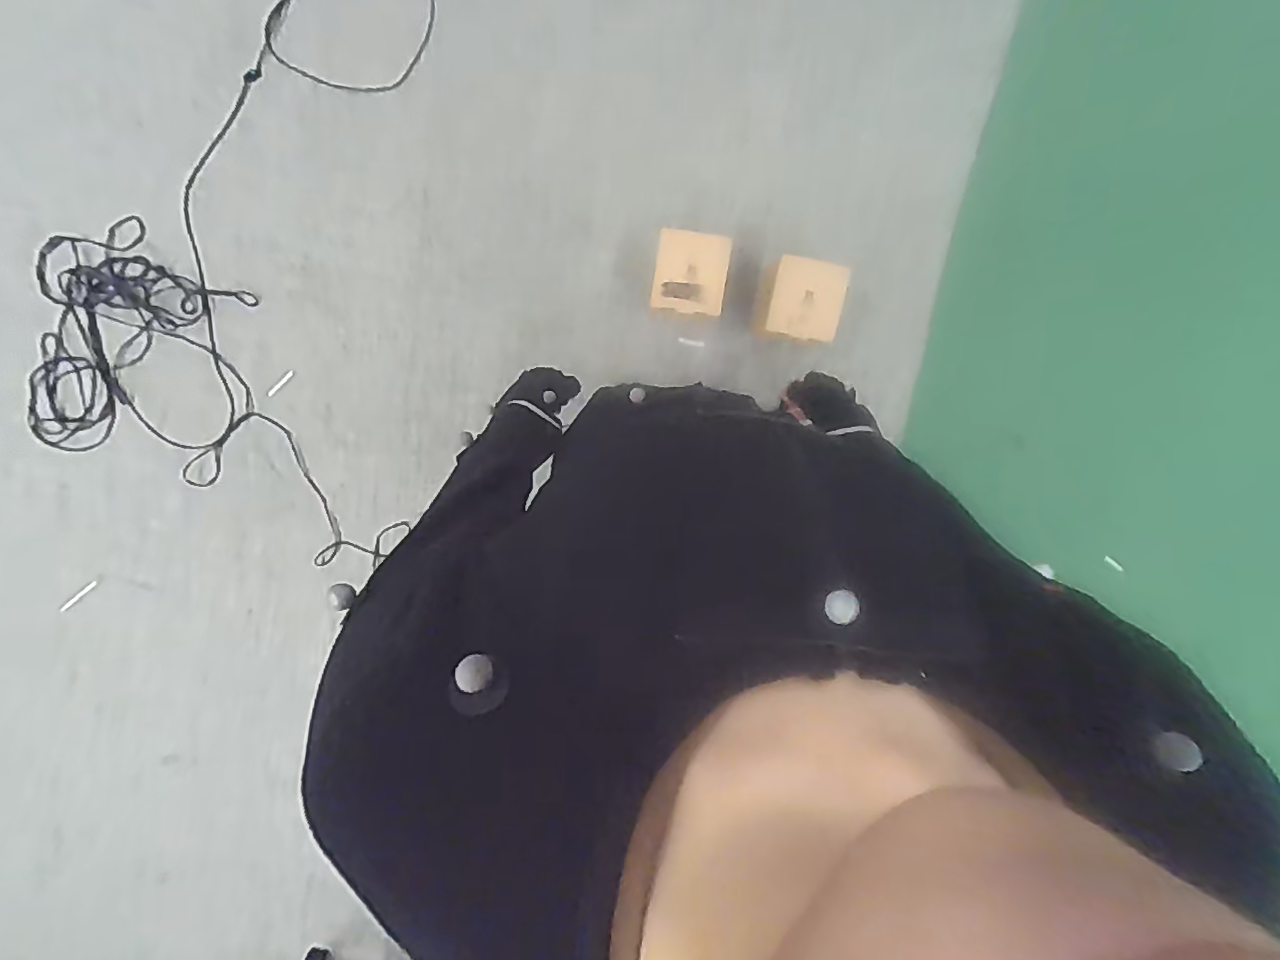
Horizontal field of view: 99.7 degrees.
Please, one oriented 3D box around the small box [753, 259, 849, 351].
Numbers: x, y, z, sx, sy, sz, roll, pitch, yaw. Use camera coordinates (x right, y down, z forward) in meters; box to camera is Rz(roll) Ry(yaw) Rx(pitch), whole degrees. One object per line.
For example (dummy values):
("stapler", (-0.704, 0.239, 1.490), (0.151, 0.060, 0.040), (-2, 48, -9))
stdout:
("small box", (0.387, -0.424, 1.334), (0.168, 0.176, 0.179), (11, 101, -2))
